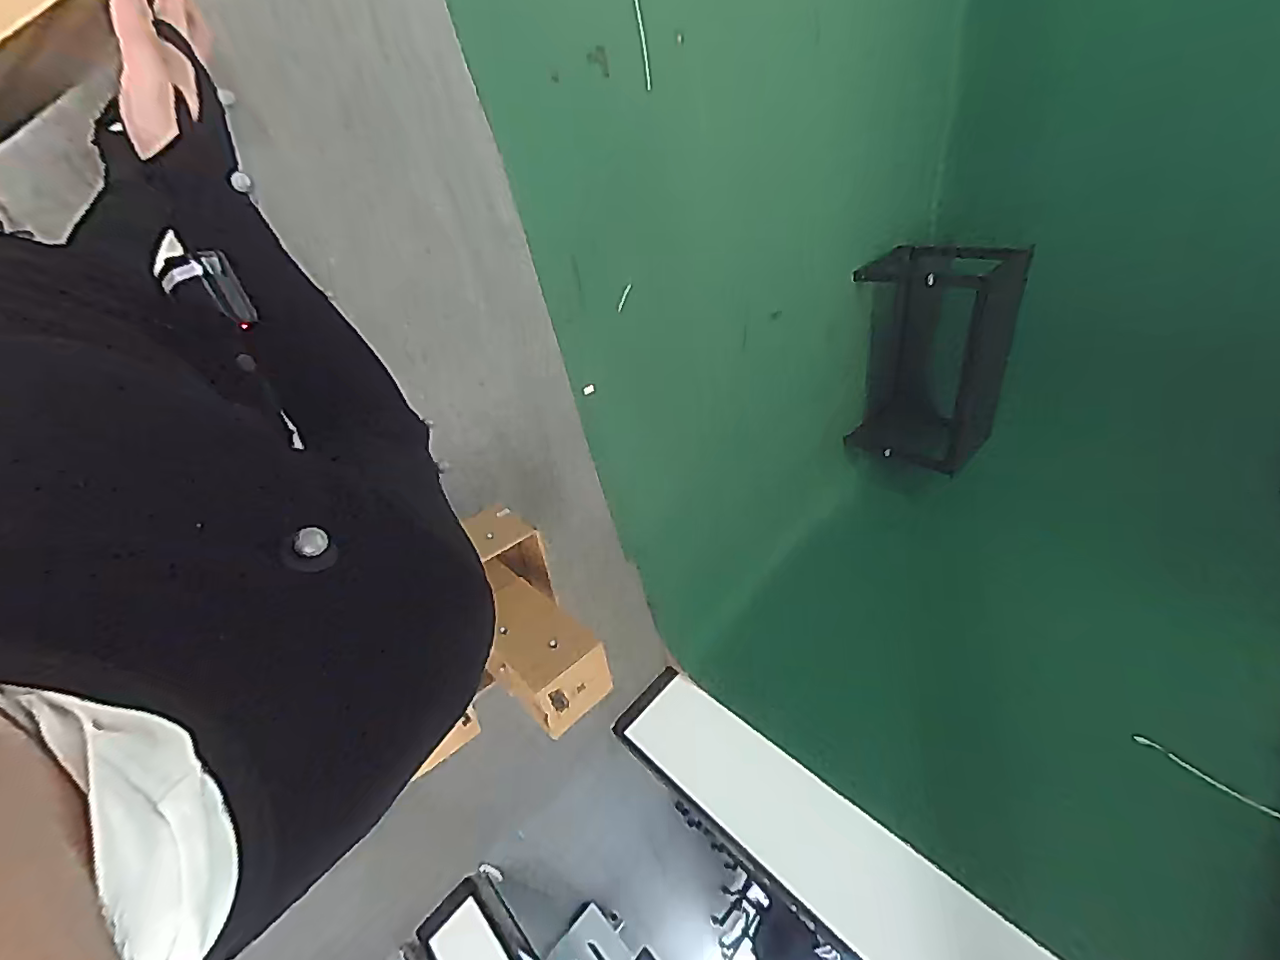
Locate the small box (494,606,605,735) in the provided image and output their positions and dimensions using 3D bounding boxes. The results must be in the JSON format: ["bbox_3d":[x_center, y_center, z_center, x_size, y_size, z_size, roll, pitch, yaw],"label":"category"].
[{"bbox_3d":[-0.208,0.421,1.219,0.179,0.176,0.168,-31,129,-31],"label":"small box"}]
